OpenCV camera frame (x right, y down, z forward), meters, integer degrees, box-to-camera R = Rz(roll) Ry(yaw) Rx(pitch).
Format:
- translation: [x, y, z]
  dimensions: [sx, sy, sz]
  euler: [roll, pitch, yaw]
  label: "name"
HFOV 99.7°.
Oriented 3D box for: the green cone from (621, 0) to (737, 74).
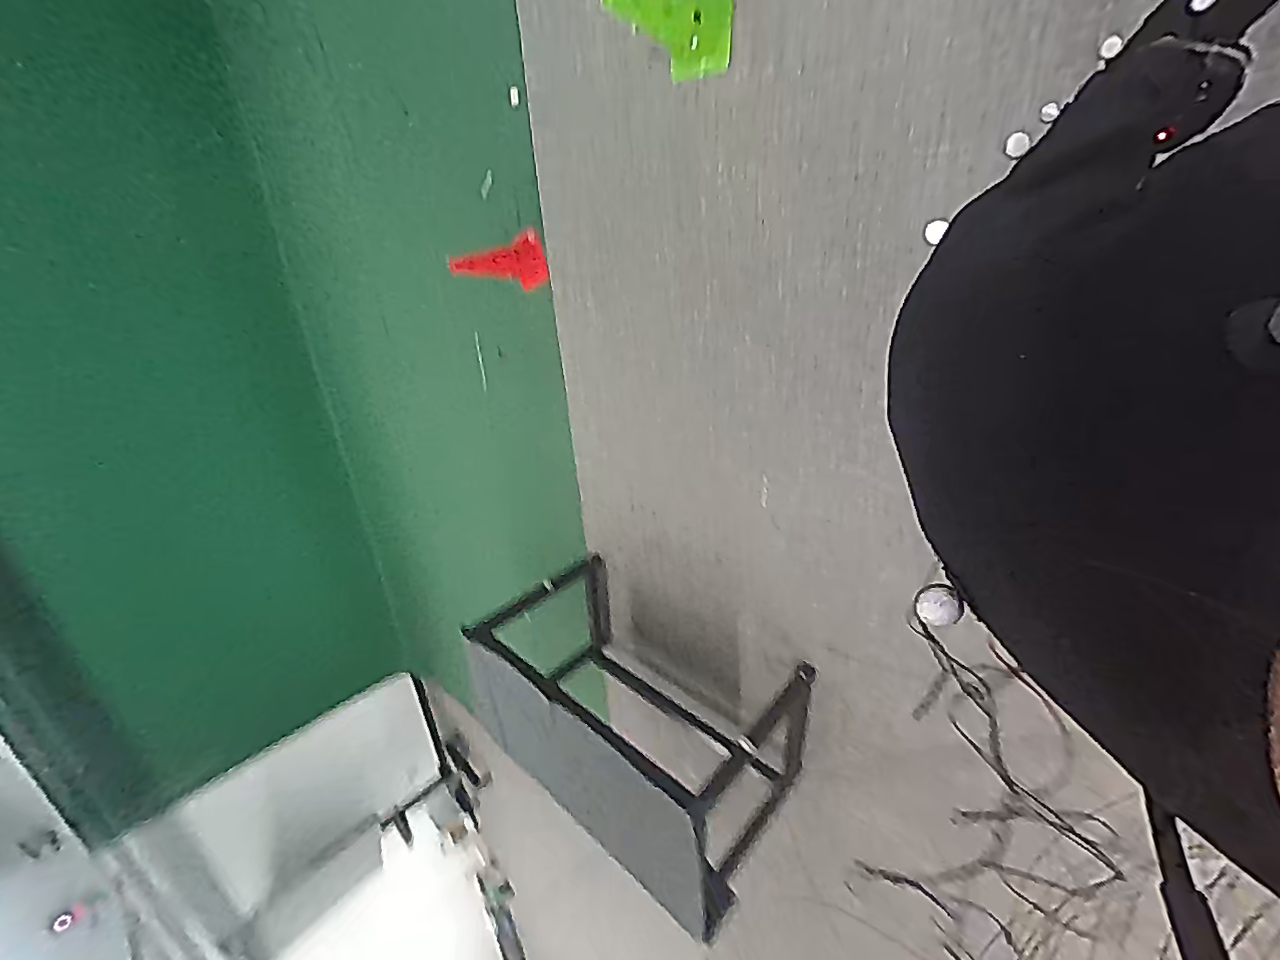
- translation: [0.057, -1.166, 1.333]
  dimensions: [0.202, 0.368, 0.200]
  euler: [19, 122, 38]
  label: "green cone"
